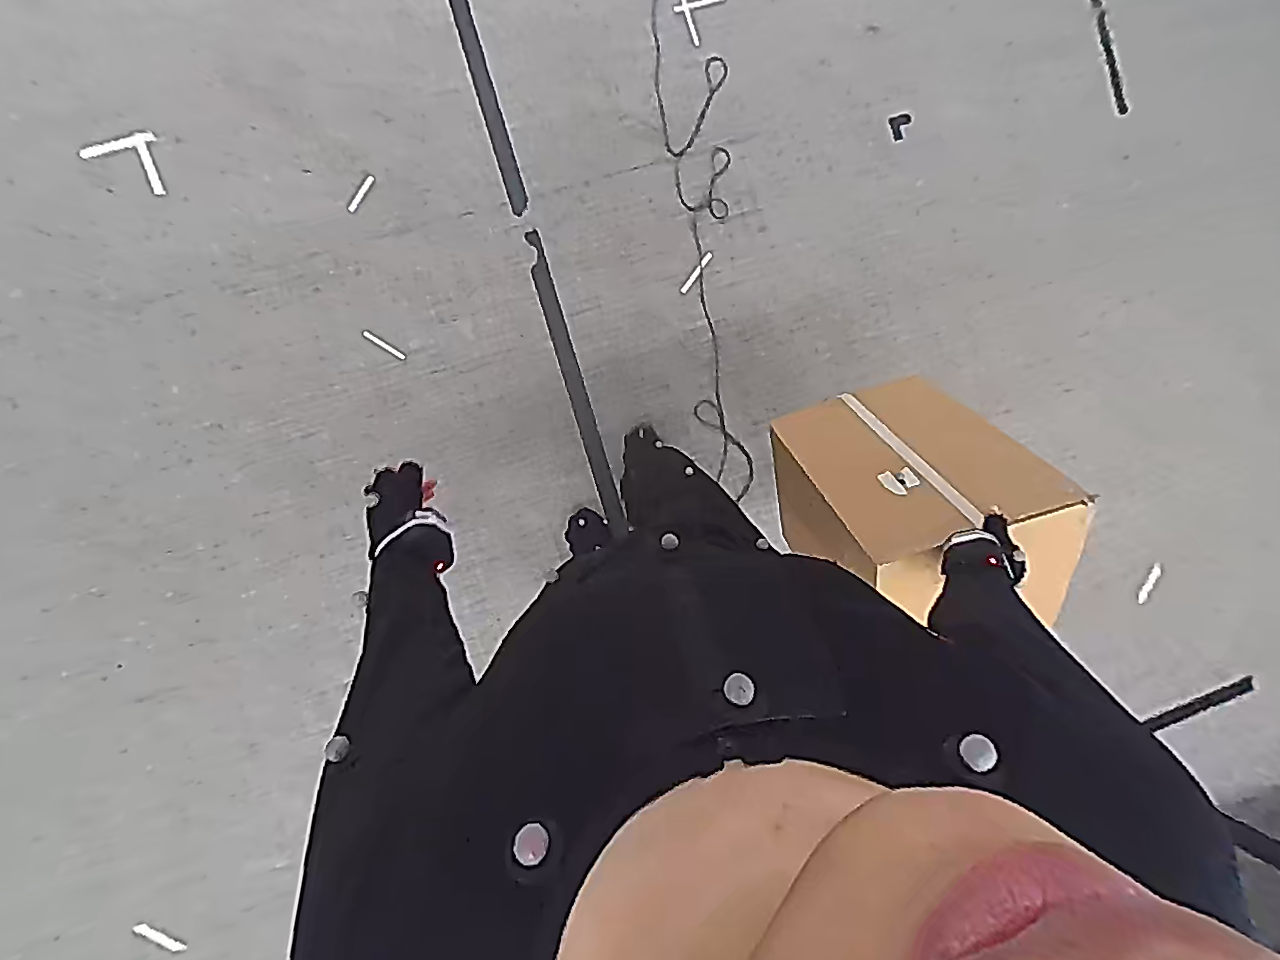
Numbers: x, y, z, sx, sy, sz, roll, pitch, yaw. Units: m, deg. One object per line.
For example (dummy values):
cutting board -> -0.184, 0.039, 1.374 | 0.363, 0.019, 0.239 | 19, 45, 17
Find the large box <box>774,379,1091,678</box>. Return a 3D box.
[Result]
large box -> 0.471, 0.072, 0.988 | 0.320, 0.408, 0.320 | -17, 128, 0
